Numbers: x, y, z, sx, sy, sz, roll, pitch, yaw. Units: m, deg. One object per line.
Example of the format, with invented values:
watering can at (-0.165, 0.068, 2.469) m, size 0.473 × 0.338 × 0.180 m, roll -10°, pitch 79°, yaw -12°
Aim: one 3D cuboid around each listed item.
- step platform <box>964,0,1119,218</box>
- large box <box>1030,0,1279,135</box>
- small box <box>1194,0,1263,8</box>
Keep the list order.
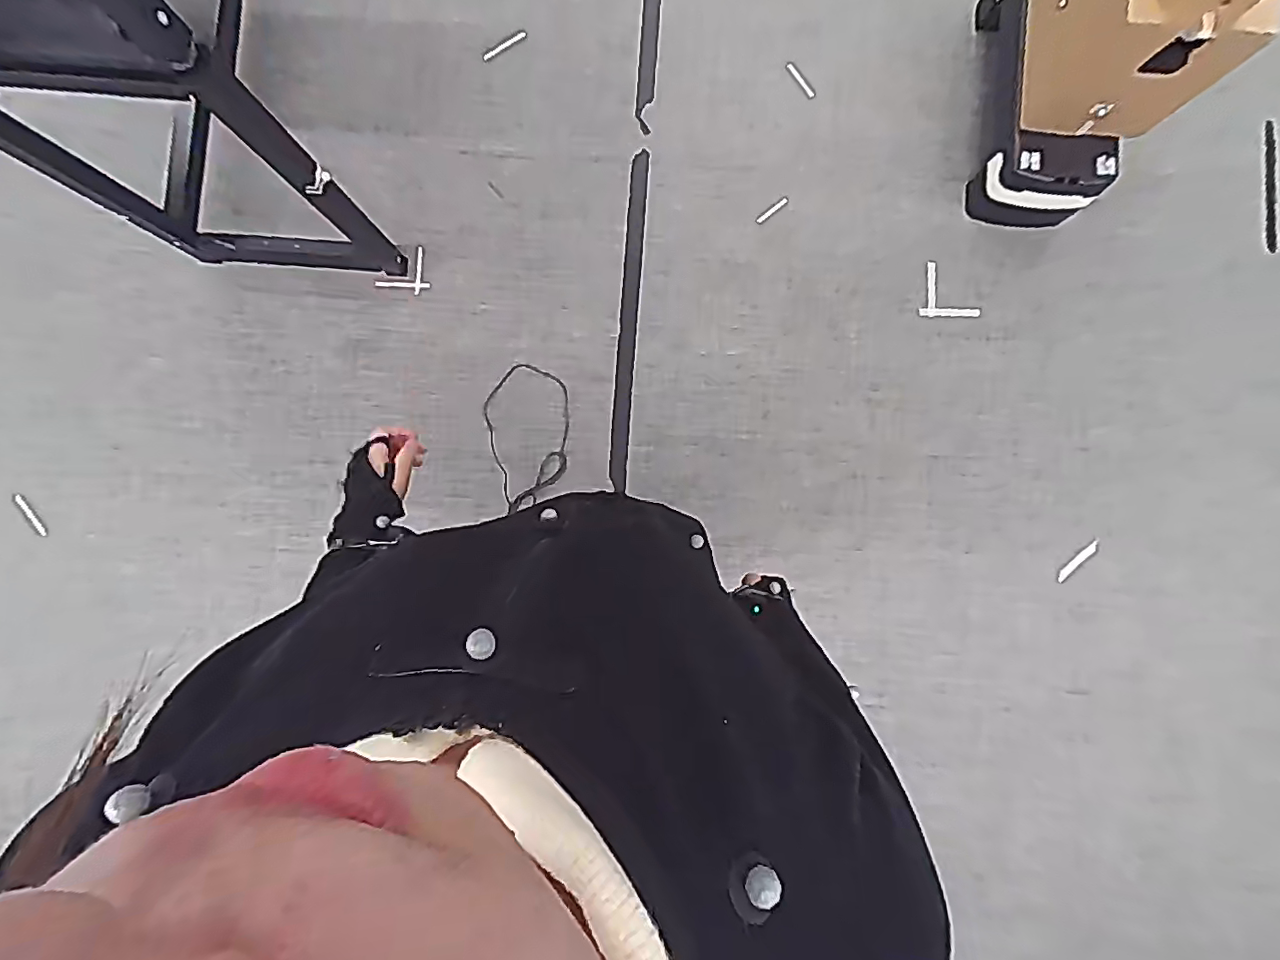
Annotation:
step platform at (1.113, -1.095, 1.461) m, size 0.286 × 0.204 × 0.684 m, roll 10°, pitch 87°, yaw 0°
large box at (1.139, -1.074, 1.223) m, size 0.320 × 0.320 × 0.408 m, roll 4°, pitch 86°, yaw -1°
small box at (1.123, -1.007, 0.975) m, size 0.168 × 0.176 × 0.179 m, roll 5°, pitch 87°, yaw 0°
